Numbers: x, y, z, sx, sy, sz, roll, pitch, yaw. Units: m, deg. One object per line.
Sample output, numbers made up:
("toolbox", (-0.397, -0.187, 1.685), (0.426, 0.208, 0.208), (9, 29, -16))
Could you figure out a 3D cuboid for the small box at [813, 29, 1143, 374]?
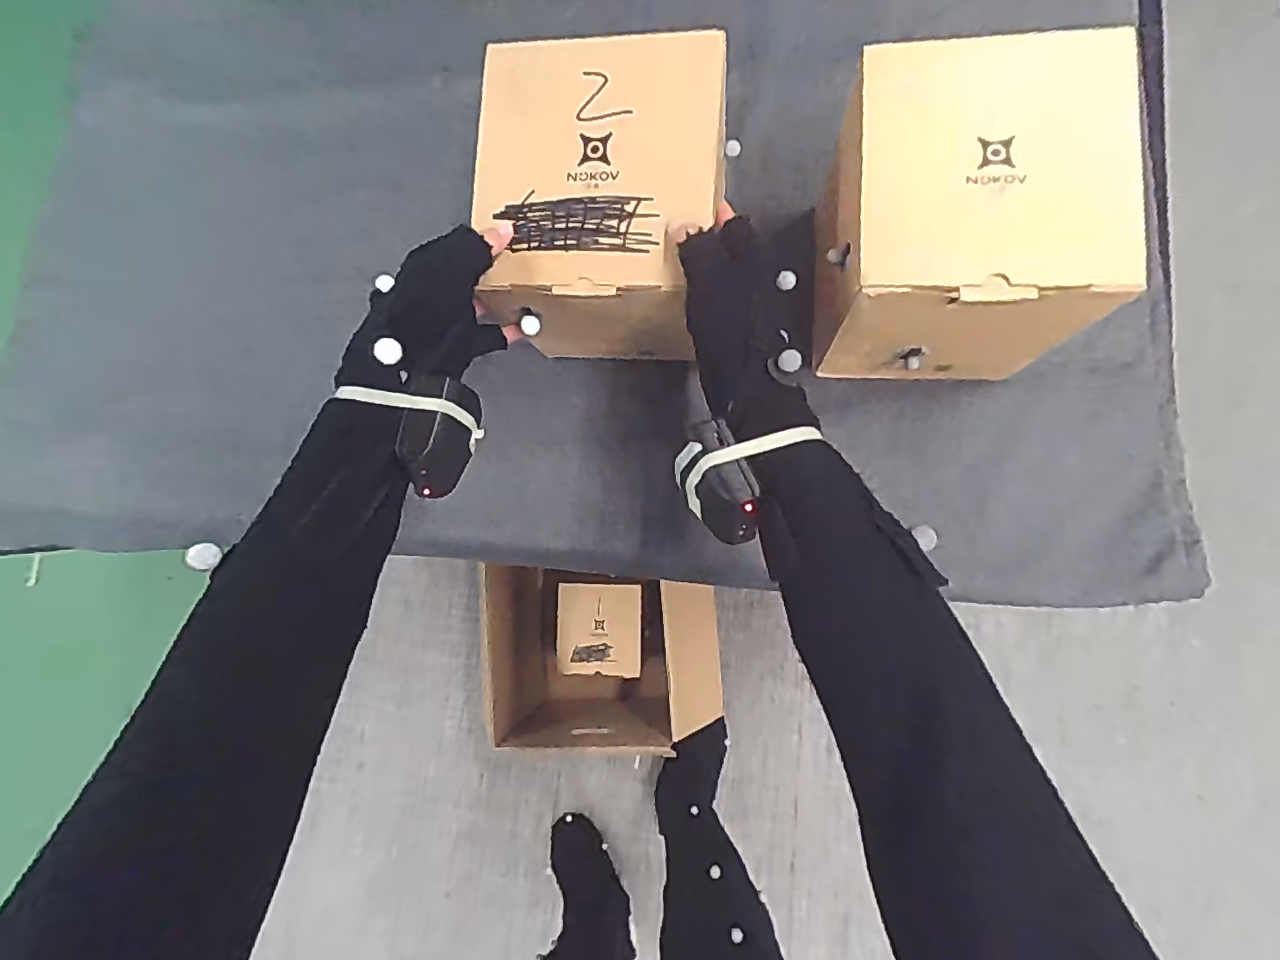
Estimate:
("small box", (0.234, -0.194, 0.422), (0.168, 0.176, 0.179), (1, 84, 8))
